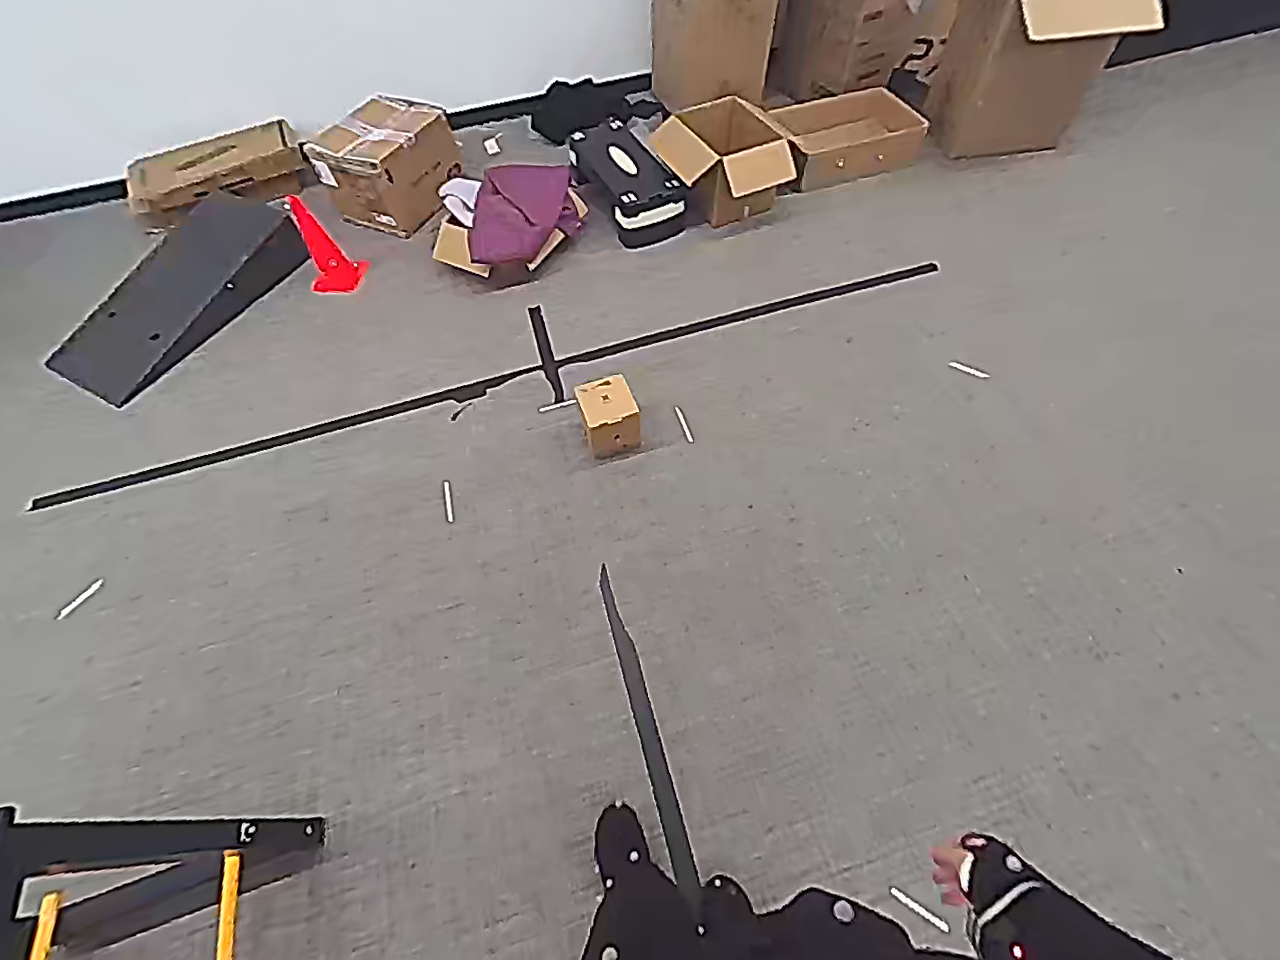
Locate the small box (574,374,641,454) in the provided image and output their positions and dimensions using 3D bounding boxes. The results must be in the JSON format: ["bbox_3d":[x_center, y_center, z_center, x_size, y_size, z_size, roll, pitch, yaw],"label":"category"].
[{"bbox_3d":[-0.101,-0.204,1.740,0.168,0.176,0.179,-18,60,-8],"label":"small box"}]
